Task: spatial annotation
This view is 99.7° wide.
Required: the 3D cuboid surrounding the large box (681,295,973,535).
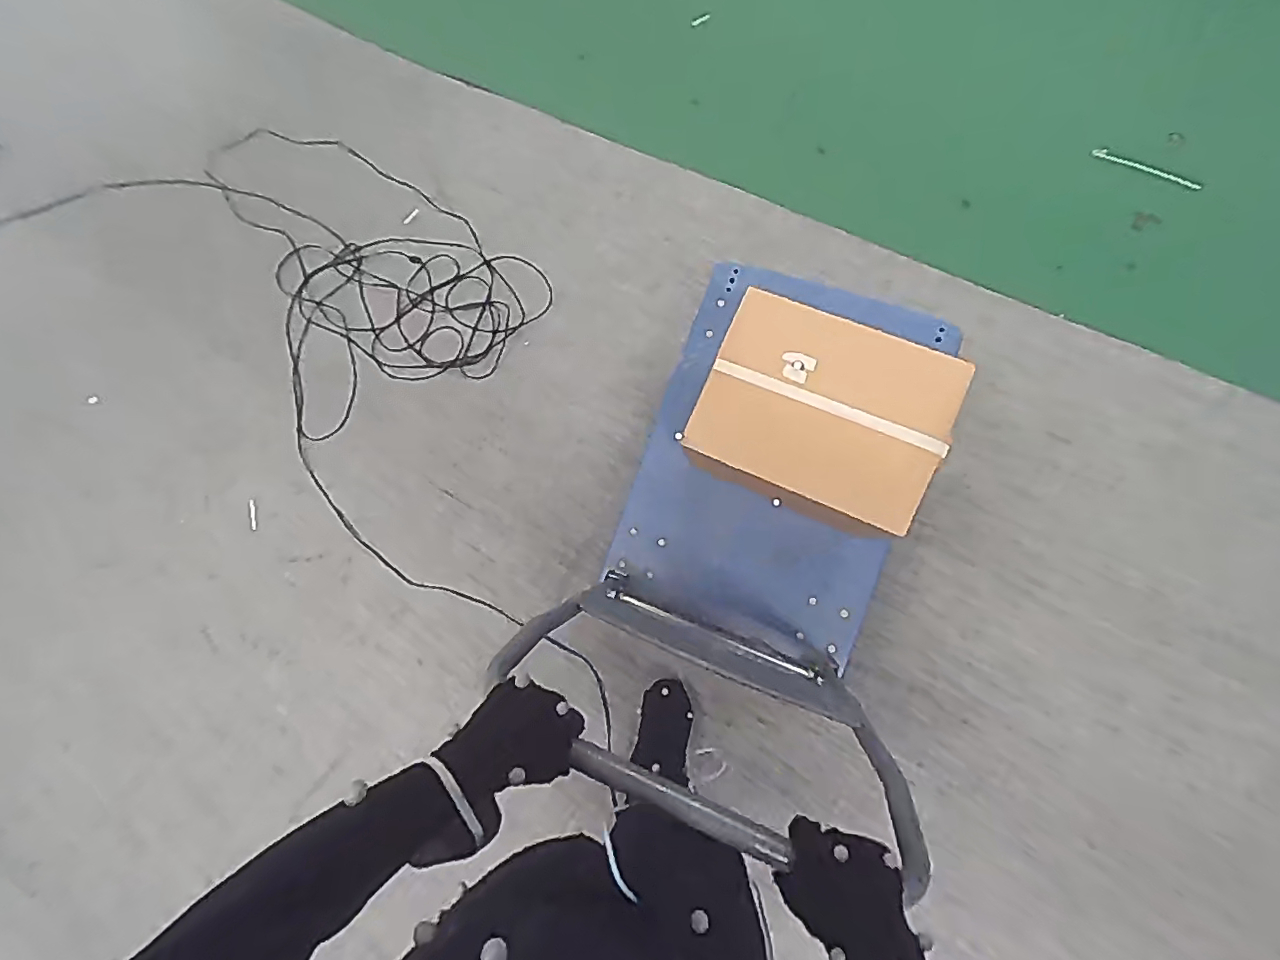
[{"bbox_3d":[0.338,-0.105,1.063,0.408,0.320,0.320,23,88,12],"label":"large box"}]
